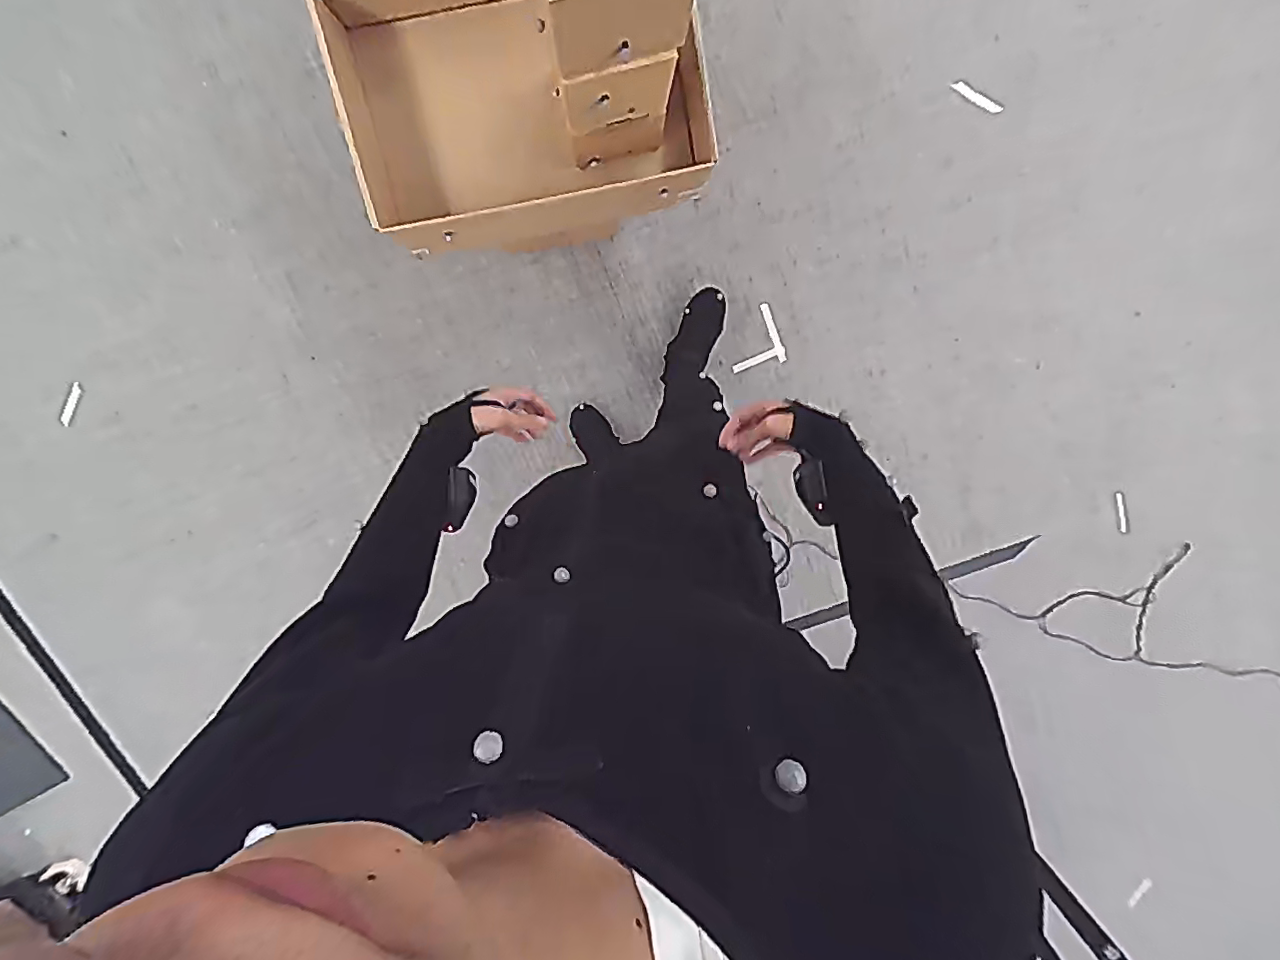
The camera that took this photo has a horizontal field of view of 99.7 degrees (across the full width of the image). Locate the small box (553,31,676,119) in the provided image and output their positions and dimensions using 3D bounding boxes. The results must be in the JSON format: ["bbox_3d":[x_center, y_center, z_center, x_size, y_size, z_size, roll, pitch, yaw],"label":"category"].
[{"bbox_3d":[-0.050,-0.654,0.779,0.168,0.176,0.179,-14,103,1],"label":"small box"}]

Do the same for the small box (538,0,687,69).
[{"bbox_3d":[-0.041,-0.621,0.618,0.179,0.176,0.168,-16,102,1],"label":"small box"}]

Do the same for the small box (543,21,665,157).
[{"bbox_3d":[-0.057,-0.689,0.937,0.168,0.176,0.179,-14,103,1],"label":"small box"}]
